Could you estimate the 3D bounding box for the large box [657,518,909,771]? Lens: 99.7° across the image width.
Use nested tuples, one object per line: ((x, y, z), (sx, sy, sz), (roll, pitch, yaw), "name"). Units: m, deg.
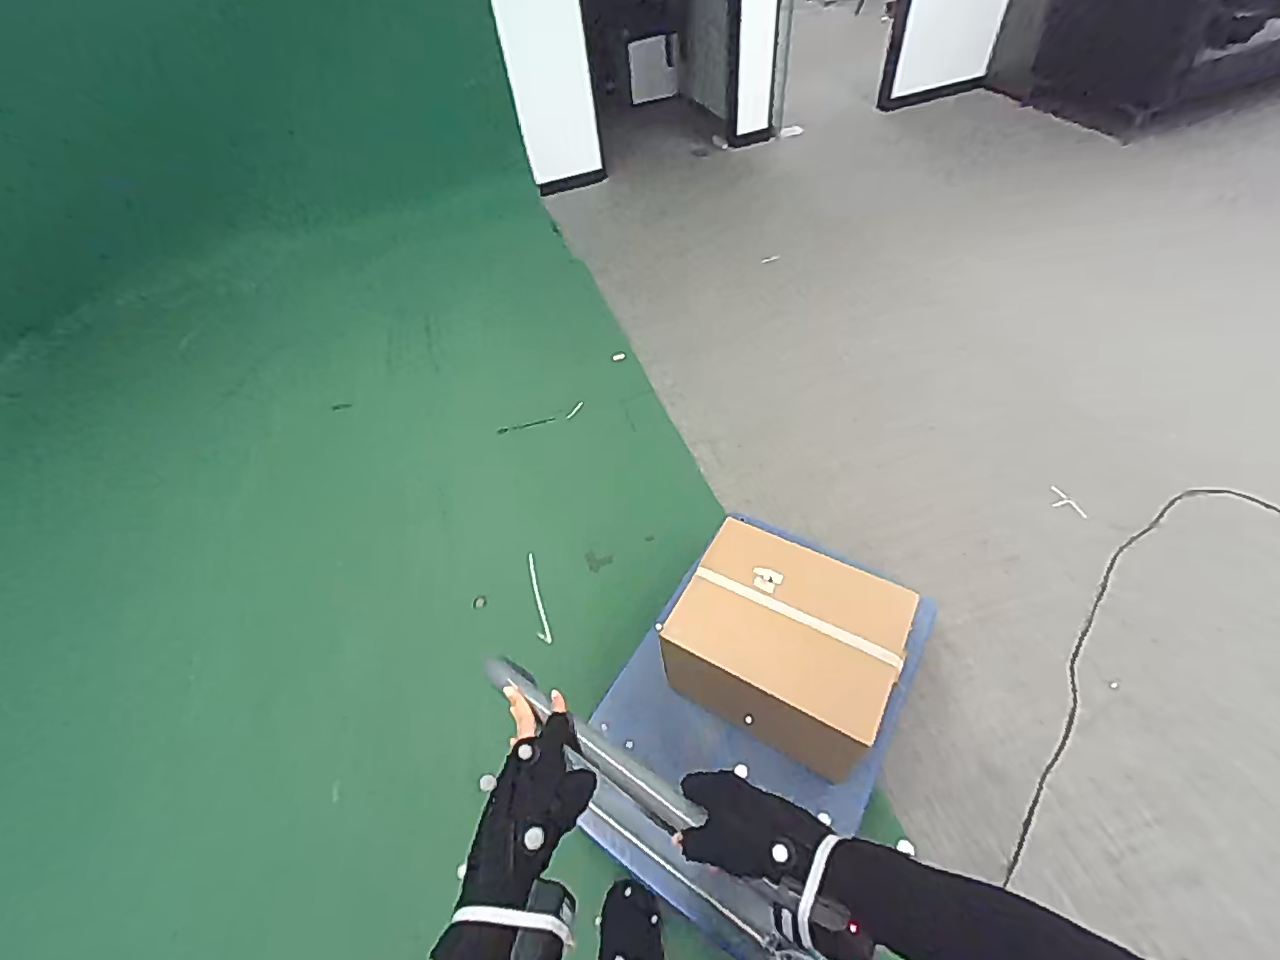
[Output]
((0.295, 0.348, 1.156), (0.408, 0.320, 0.320), (22, 56, 24), "large box")
